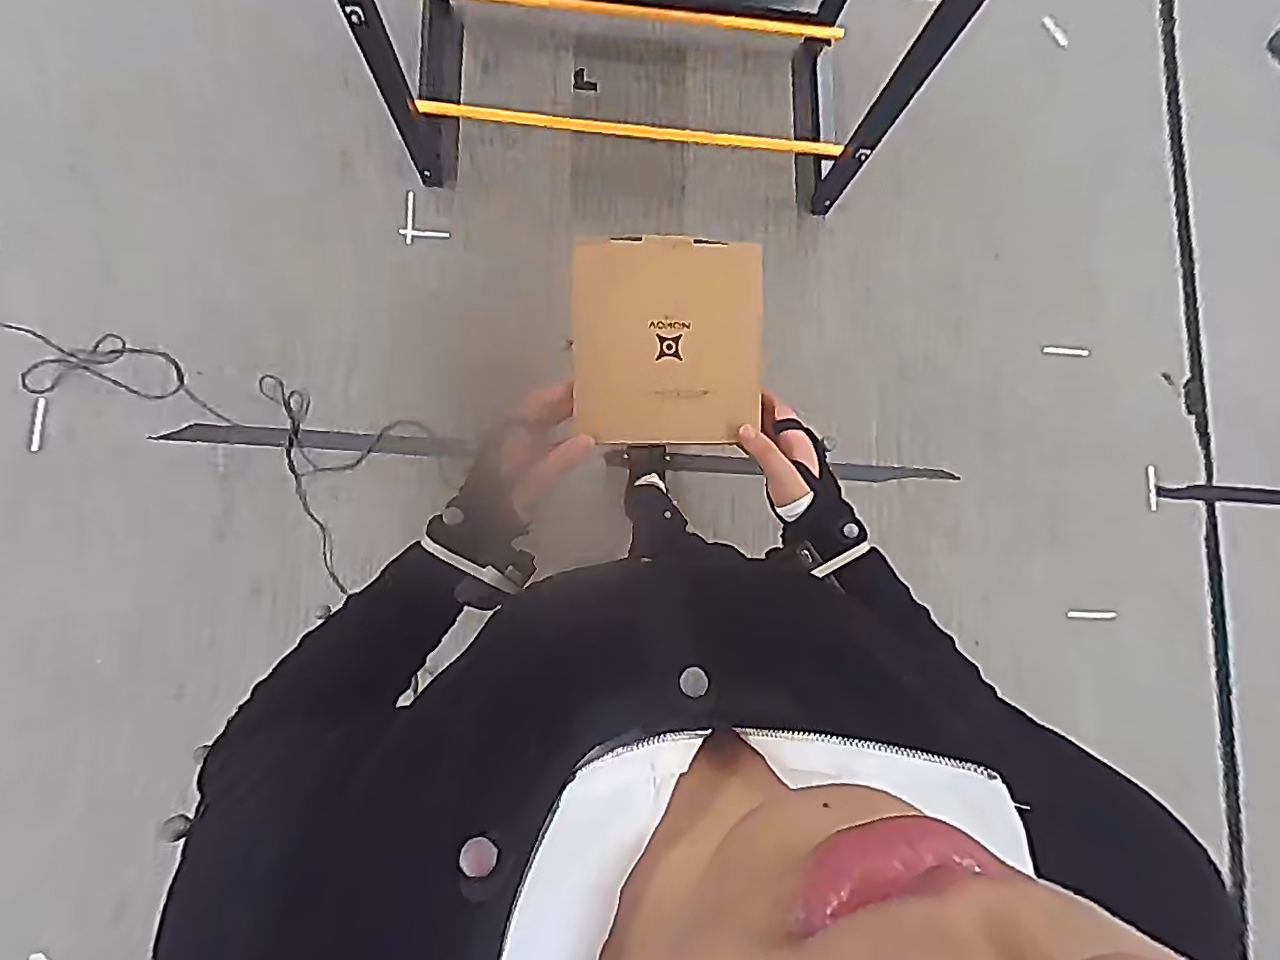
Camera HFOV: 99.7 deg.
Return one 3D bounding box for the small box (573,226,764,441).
[{"bbox_3d":[0.017,-0.129,0.543,0.168,0.176,0.179,-1,94,-7],"label":"small box"}]
